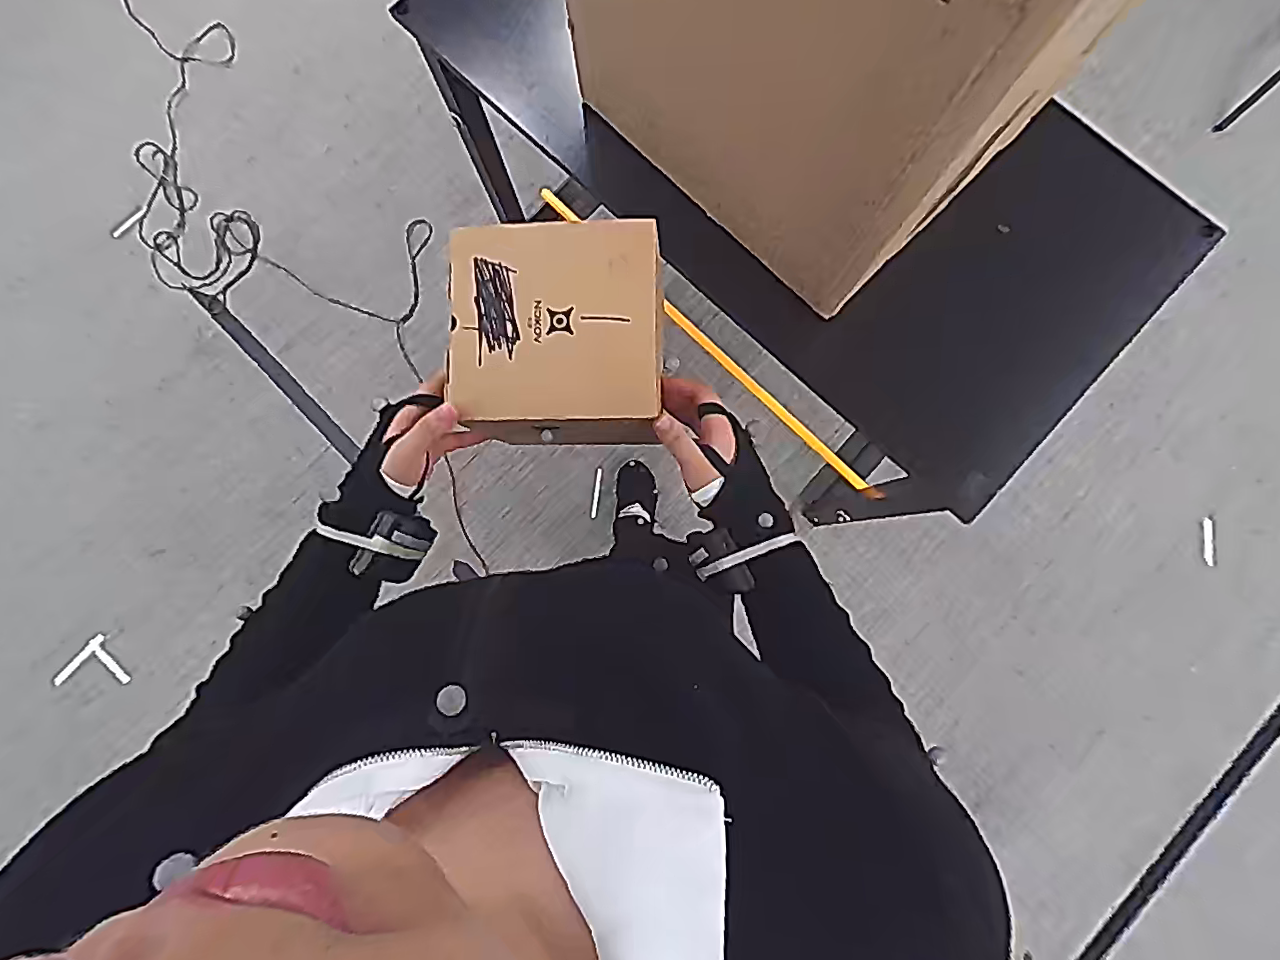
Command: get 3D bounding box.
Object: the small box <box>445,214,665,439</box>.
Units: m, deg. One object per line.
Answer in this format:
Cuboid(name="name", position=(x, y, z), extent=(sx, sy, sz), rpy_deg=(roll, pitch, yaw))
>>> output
Cuboid(name="small box", position=(-0.066, -0.131, 0.520), extent=(0.179, 0.176, 0.168), rpy_deg=(0, 87, 3))
